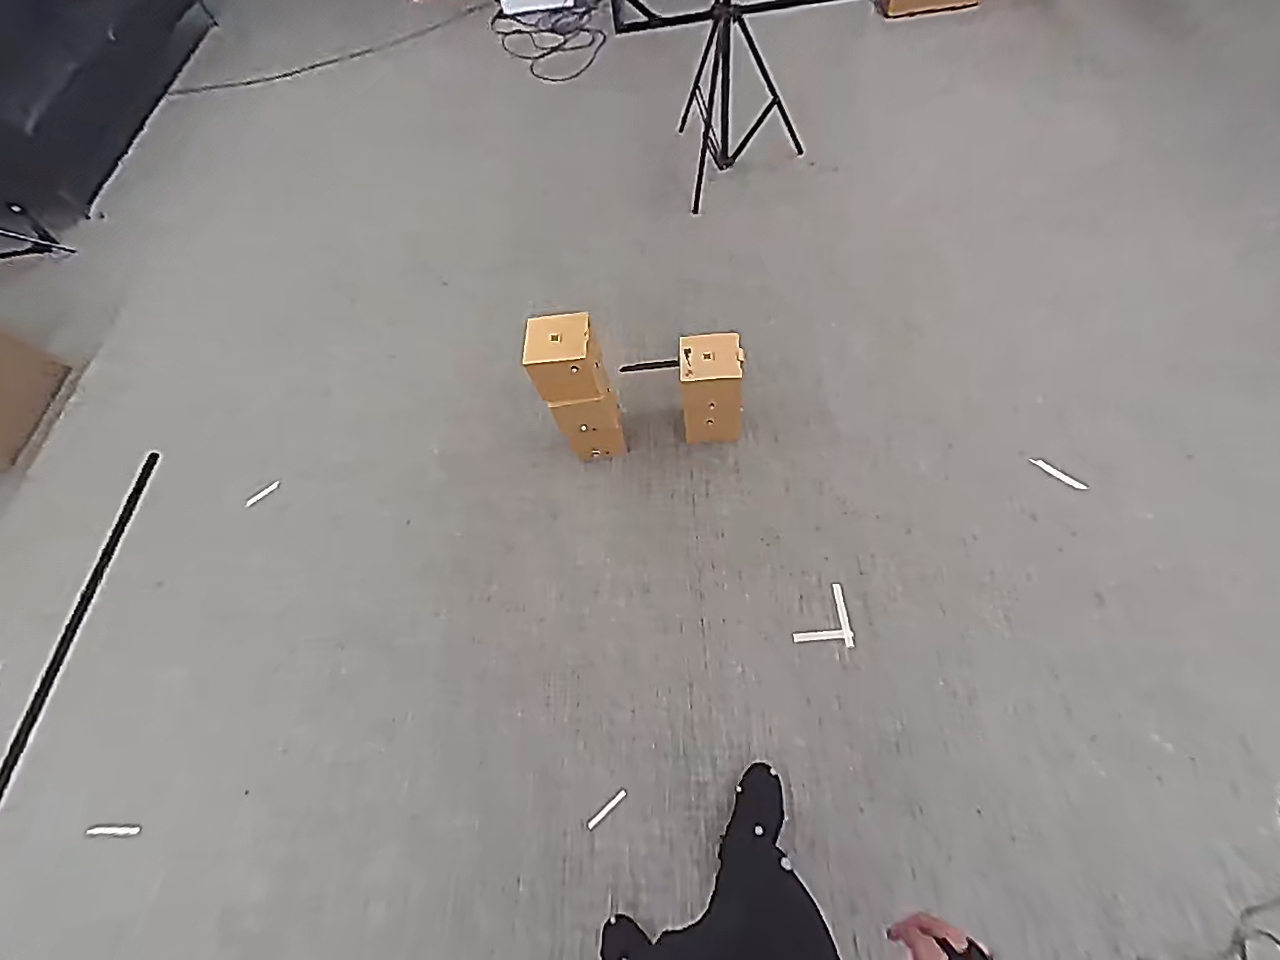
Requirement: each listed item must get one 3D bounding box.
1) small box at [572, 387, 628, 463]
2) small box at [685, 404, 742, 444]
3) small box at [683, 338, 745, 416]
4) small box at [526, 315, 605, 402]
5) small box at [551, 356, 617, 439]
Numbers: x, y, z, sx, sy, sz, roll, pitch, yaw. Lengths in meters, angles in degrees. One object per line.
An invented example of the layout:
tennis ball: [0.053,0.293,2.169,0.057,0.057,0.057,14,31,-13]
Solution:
small box: [-0.139,-0.179,1.792,0.168,0.176,0.179,-9,62,4]
small box: [0.238,-0.227,1.762,0.179,0.176,0.168,-3,63,6]
small box: [0.217,-0.303,1.618,0.179,0.176,0.168,-1,62,6]
small box: [-0.202,-0.333,1.511,0.179,0.176,0.168,-4,62,7]
small box: [-0.168,-0.249,1.647,0.168,0.176,0.179,-8,62,5]
